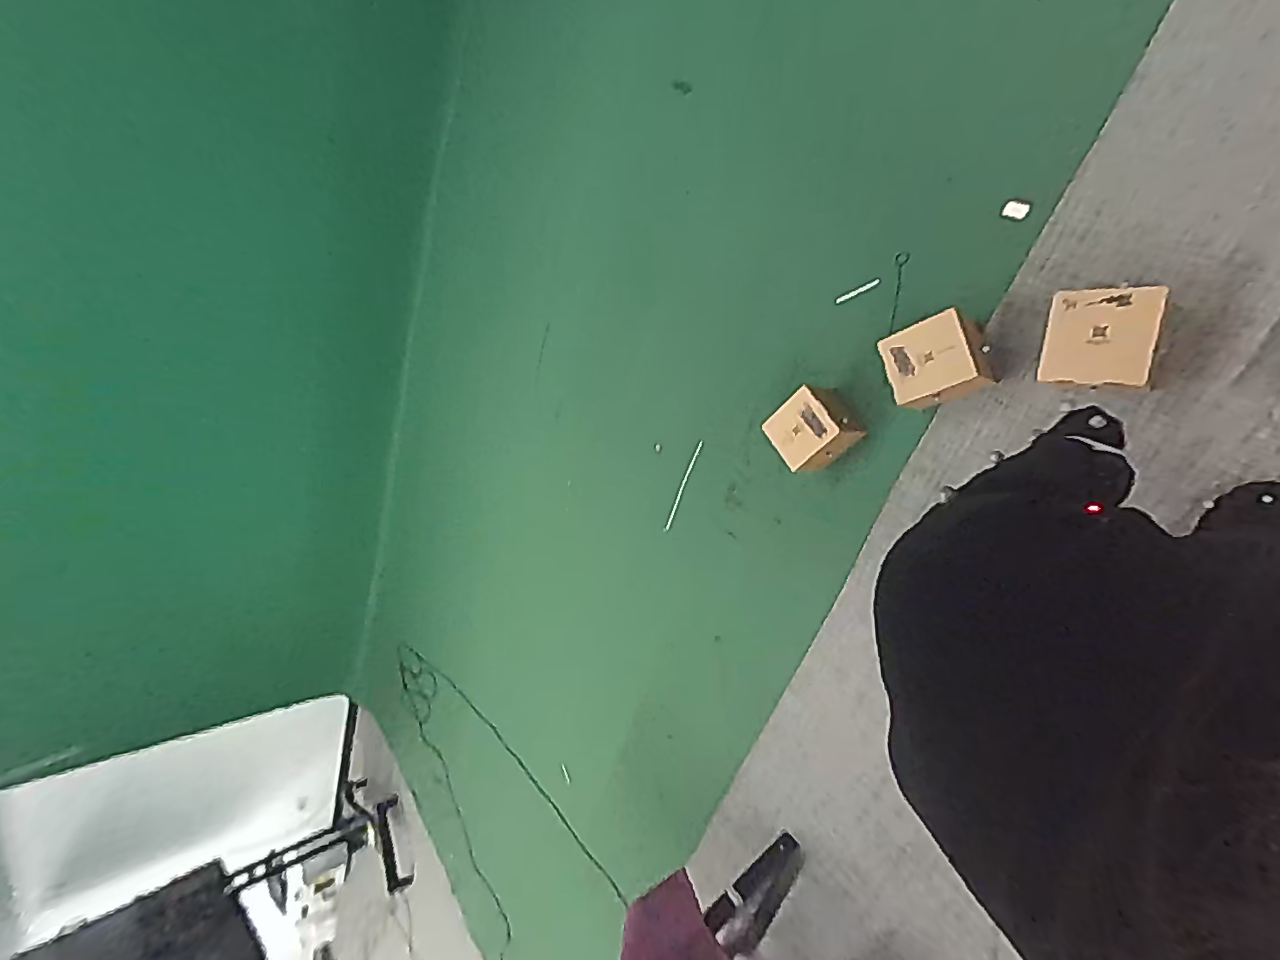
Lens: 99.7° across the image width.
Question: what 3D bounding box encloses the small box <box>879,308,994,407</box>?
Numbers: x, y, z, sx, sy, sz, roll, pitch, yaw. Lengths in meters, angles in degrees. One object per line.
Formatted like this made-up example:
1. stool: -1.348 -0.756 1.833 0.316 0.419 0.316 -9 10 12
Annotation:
1. small box: 0.706 -0.280 1.286 0.179 0.176 0.168 -22 77 43

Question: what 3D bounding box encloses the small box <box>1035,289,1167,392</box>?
1. small box: 0.918 -0.271 1.074 0.168 0.176 0.179 15 103 44
